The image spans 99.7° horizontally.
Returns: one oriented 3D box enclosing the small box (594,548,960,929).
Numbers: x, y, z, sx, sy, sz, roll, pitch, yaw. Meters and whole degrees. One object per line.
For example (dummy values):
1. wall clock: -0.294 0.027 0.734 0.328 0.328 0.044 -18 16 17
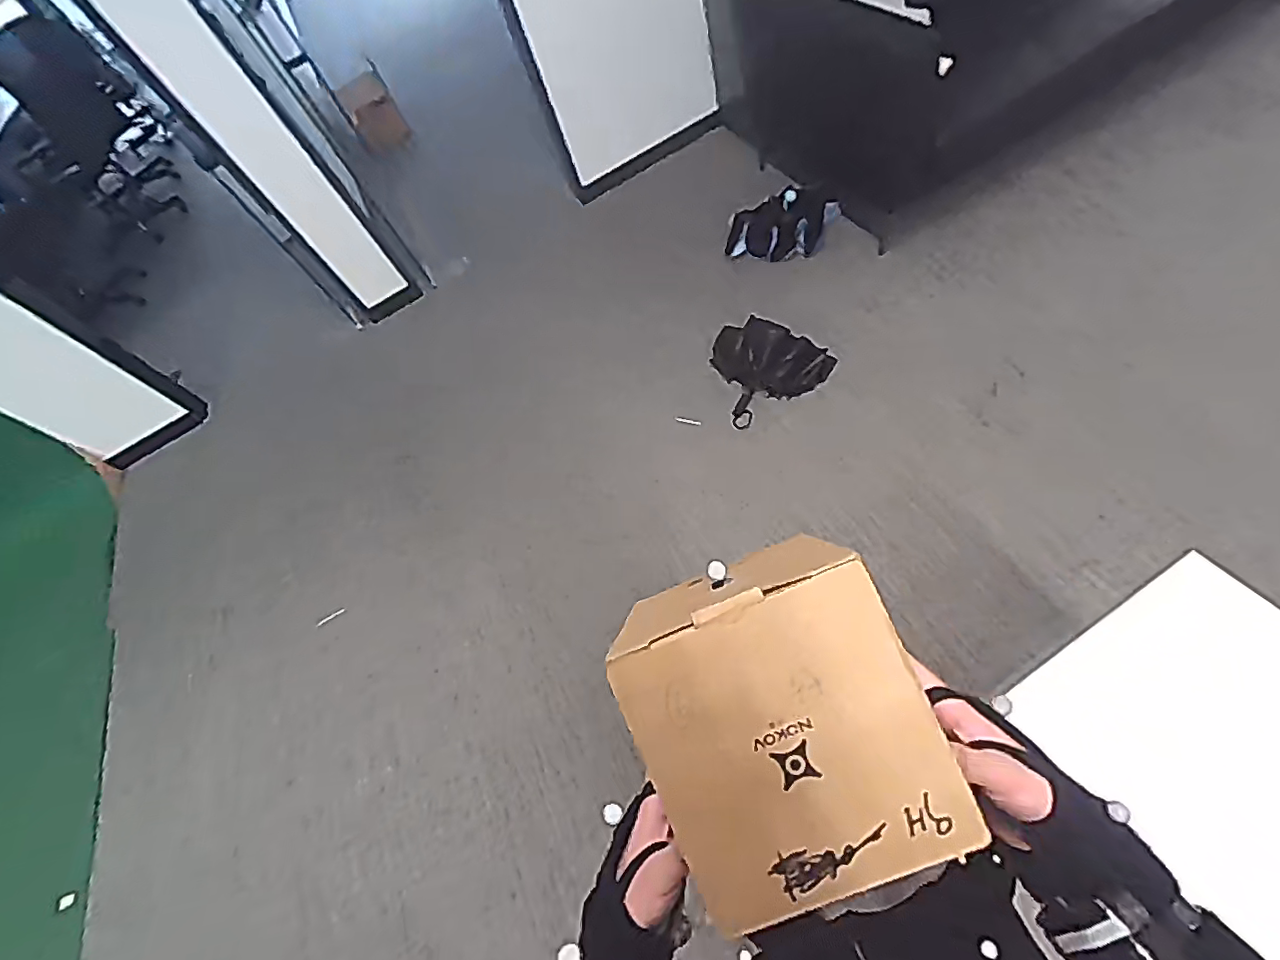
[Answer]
1. small box: 0.083 0.157 0.396 0.168 0.176 0.179 -23 87 6
